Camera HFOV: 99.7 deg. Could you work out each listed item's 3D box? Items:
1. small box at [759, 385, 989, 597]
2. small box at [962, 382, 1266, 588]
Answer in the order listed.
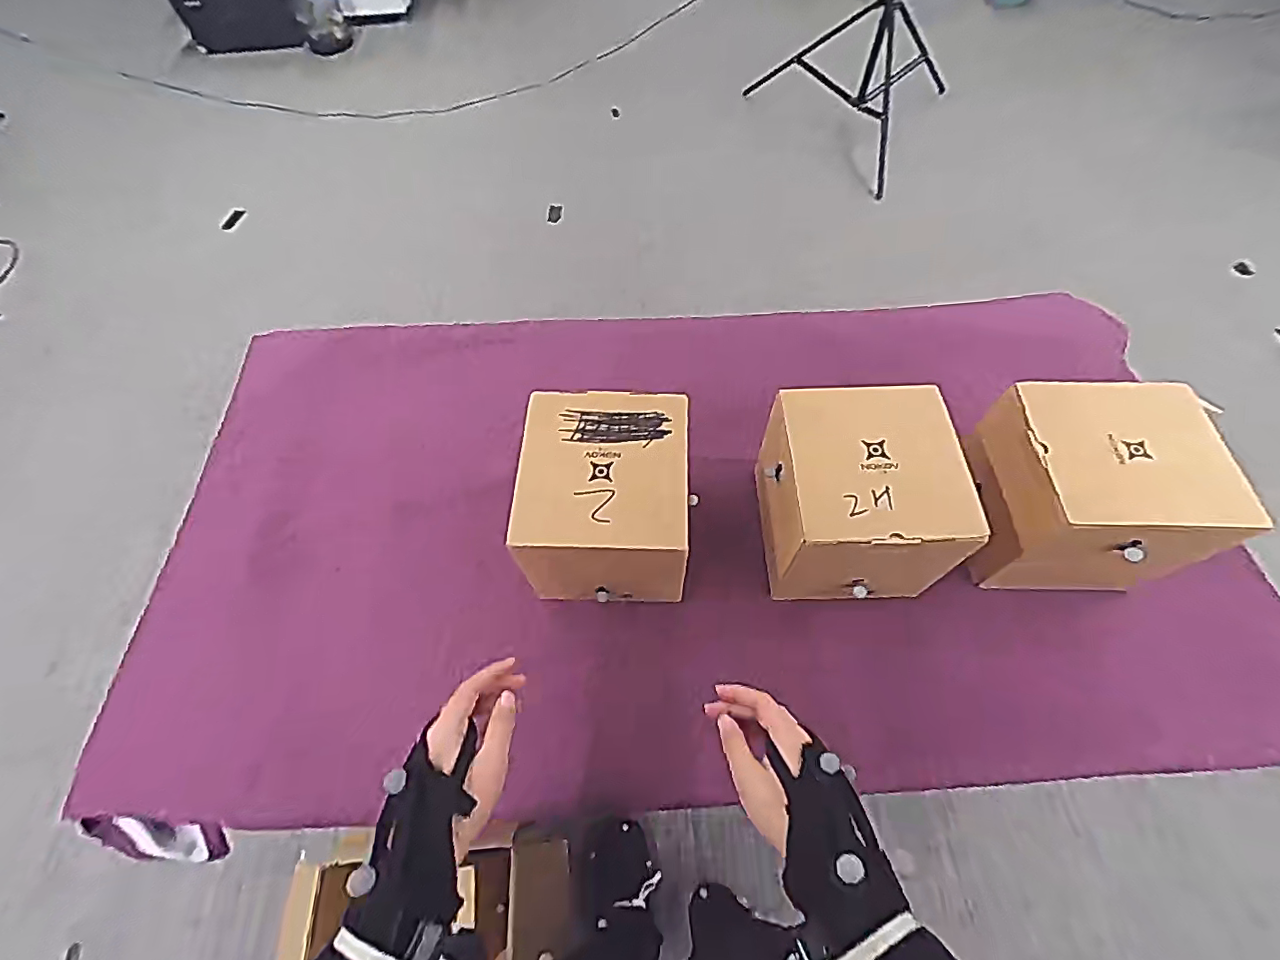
[{"bbox_3d":[0.230,0.017,0.590,0.168,0.176,0.179,-1,60,2],"label":"small box"},{"bbox_3d":[0.471,0.012,0.587,0.179,0.176,0.168,1,60,3],"label":"small box"}]
